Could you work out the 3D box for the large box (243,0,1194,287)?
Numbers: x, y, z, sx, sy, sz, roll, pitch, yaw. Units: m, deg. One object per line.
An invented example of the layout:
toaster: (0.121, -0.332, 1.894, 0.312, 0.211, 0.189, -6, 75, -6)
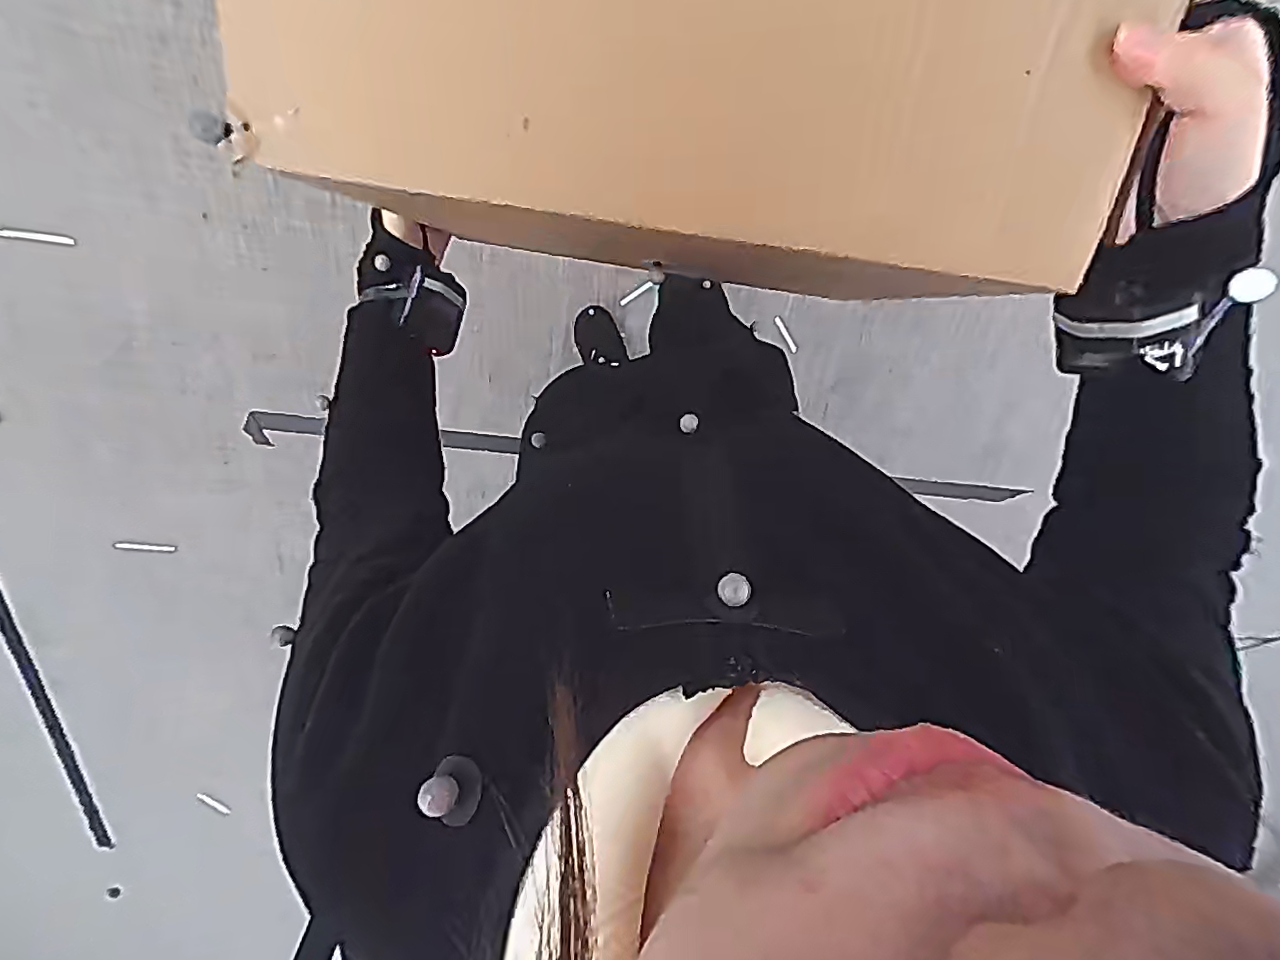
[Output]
large box: (0.046, -0.313, 0.348, 0.408, 0.320, 0.320, 9, 106, -1)
